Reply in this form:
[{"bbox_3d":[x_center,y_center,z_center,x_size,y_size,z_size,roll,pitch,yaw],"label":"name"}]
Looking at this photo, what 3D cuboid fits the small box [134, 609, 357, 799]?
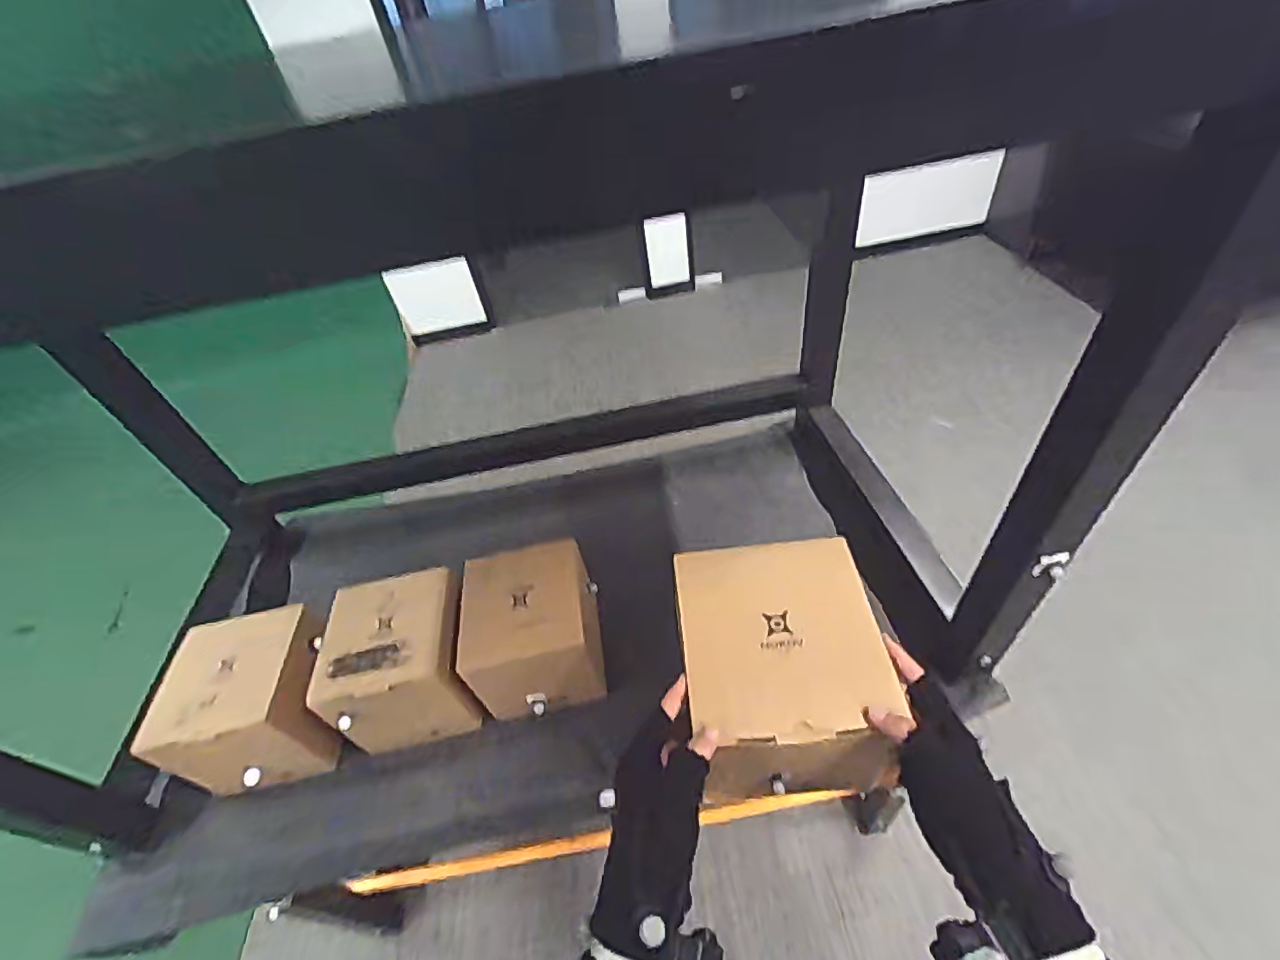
[{"bbox_3d":[-0.529,0.315,0.763,0.168,0.176,0.179,-12,44,-2],"label":"small box"}]
